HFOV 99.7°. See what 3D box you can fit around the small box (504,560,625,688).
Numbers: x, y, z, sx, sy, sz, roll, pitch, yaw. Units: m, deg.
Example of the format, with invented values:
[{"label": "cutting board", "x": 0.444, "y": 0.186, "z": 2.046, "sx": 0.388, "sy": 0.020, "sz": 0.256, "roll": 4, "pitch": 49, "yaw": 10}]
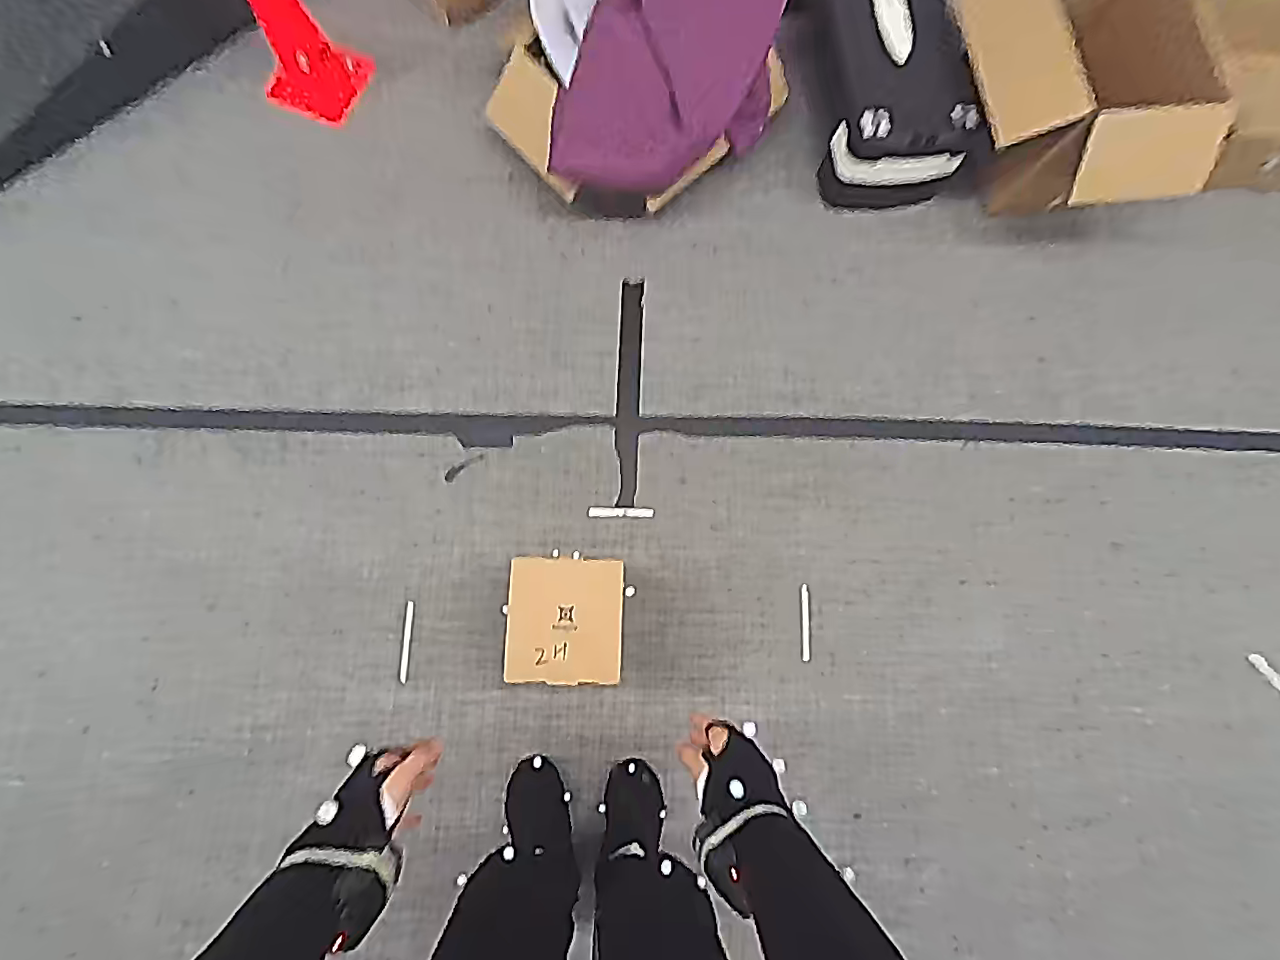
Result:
[{"label": "small box", "x": -0.111, "y": 0.221, "z": 0.854, "sx": 0.168, "sy": 0.176, "sz": 0.179, "roll": 2, "pitch": 79, "yaw": -2}]
